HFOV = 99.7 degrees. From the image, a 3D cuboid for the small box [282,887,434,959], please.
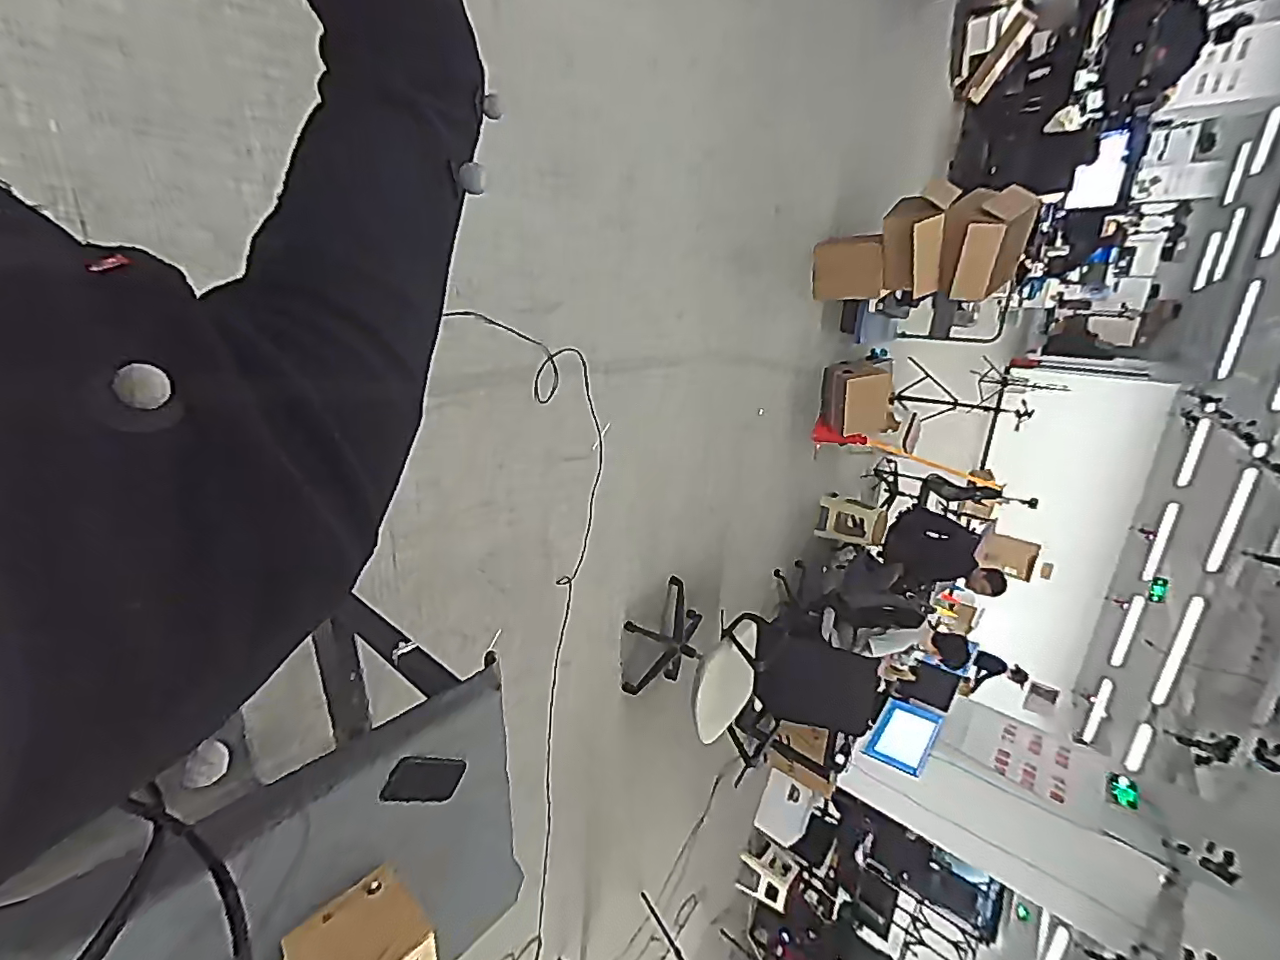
[{"bbox_3d":[-0.443,0.802,0.859,0.168,0.176,0.179,-17,117,-47],"label":"small box"}]
